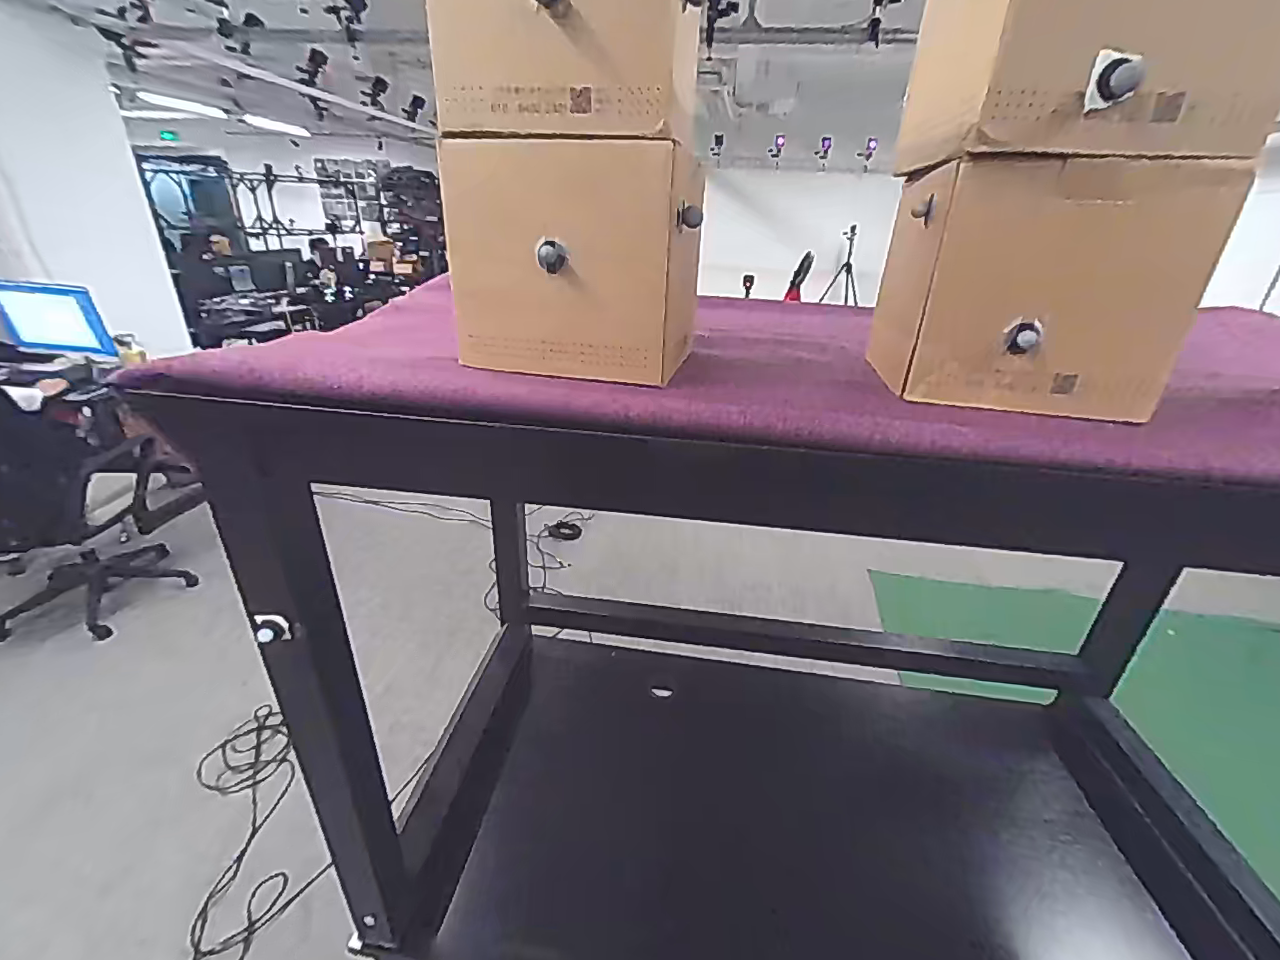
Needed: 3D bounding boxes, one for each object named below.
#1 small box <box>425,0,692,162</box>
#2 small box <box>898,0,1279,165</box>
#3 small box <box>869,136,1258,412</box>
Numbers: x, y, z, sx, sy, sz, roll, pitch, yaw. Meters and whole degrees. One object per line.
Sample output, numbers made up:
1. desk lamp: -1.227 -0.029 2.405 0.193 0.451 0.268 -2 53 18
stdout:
1. small box: -0.049 -0.348 0.409 0.168 0.176 0.179 5 25 8
2. small box: 0.294 -0.311 0.365 0.168 0.176 0.179 3 26 6
3. small box: 0.296 -0.165 0.436 0.168 0.176 0.179 7 25 11
